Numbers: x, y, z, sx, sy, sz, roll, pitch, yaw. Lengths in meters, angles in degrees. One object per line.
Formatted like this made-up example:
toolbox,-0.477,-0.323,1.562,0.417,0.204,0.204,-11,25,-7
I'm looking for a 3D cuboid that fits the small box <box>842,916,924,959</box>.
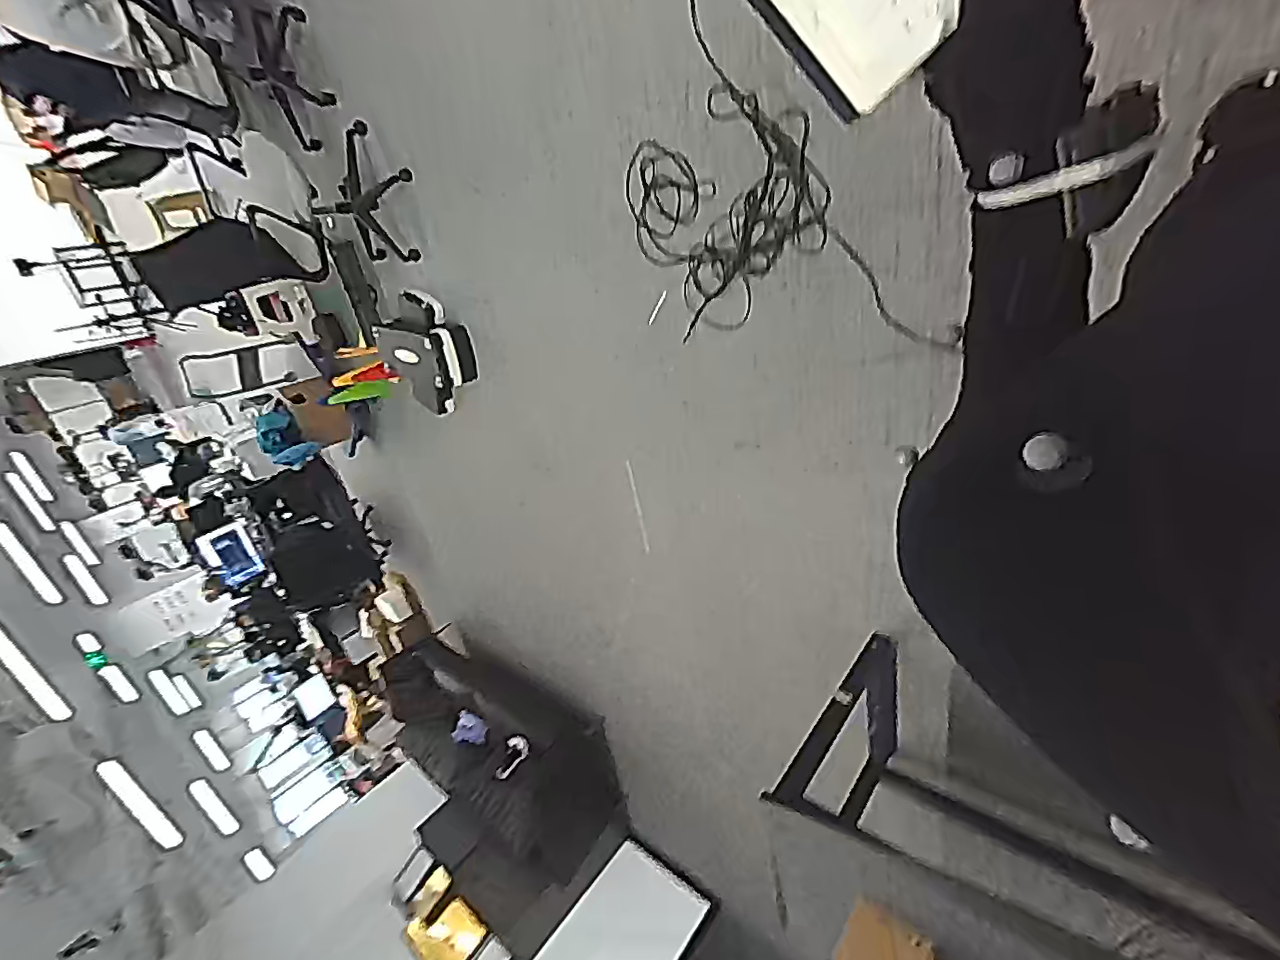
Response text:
small box,0.543,1.138,1.203,0.168,0.176,0.179,10,121,42
